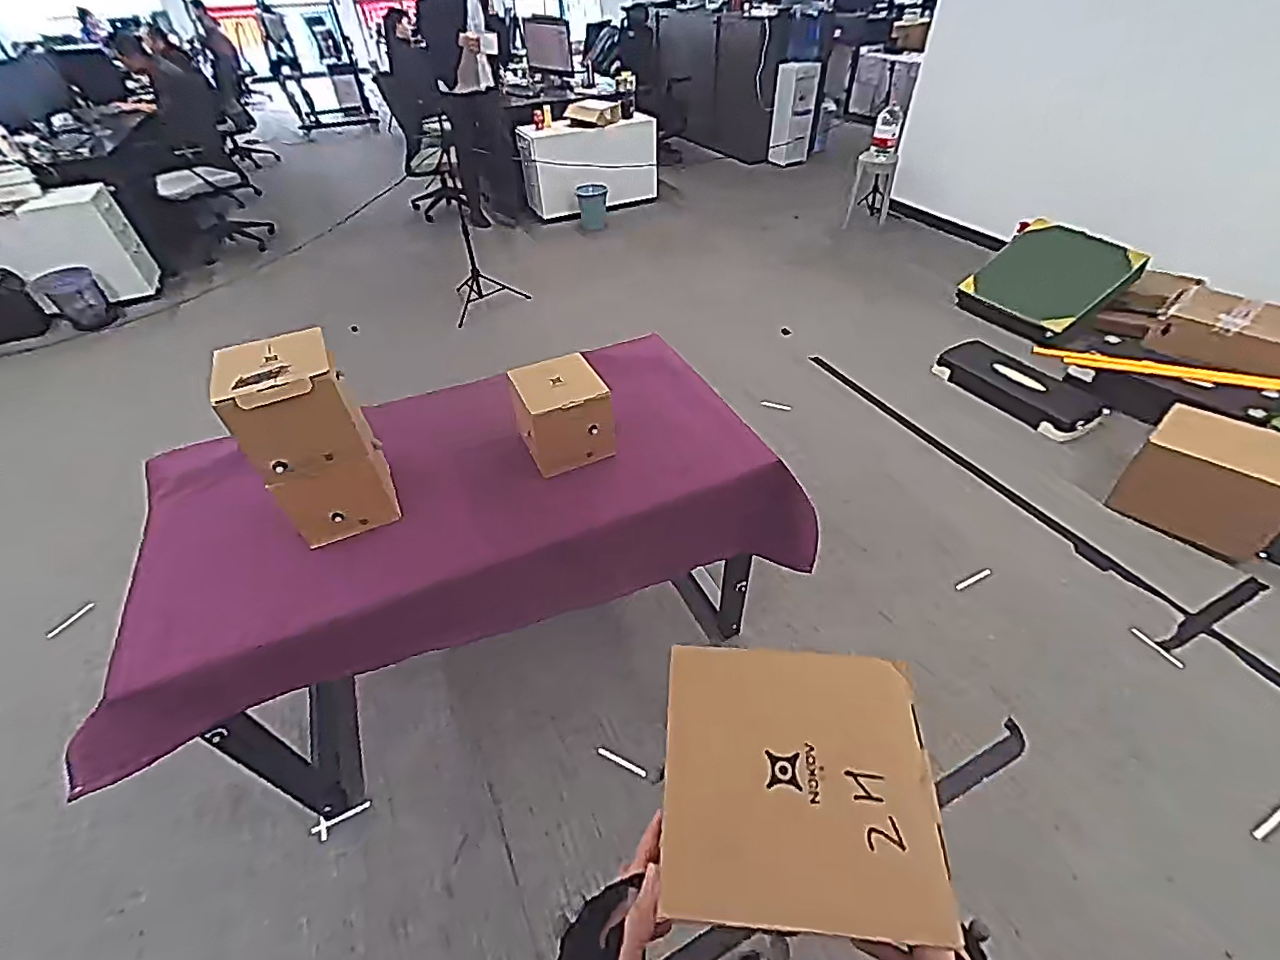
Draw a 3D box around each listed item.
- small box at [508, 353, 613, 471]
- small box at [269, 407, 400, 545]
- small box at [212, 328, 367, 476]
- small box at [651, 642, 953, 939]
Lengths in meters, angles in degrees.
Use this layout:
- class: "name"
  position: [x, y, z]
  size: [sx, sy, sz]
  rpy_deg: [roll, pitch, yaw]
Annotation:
- class: "small box"
  position: [-0.164, -0.139, 1.147]
  size: [0.168, 0.176, 0.179]
  rpy_deg: [-19, 46, -17]
- class: "small box"
  position: [-0.579, -0.008, 1.031]
  size: [0.168, 0.176, 0.179]
  rpy_deg: [-20, 48, -18]
- class: "small box"
  position: [-0.584, -0.127, 0.917]
  size: [0.168, 0.176, 0.179]
  rpy_deg: [-21, 47, -19]
- class: "small box"
  position: [0.104, 0.242, 0.425]
  size: [0.179, 0.176, 0.168]
  rpy_deg: [3, 53, 5]
